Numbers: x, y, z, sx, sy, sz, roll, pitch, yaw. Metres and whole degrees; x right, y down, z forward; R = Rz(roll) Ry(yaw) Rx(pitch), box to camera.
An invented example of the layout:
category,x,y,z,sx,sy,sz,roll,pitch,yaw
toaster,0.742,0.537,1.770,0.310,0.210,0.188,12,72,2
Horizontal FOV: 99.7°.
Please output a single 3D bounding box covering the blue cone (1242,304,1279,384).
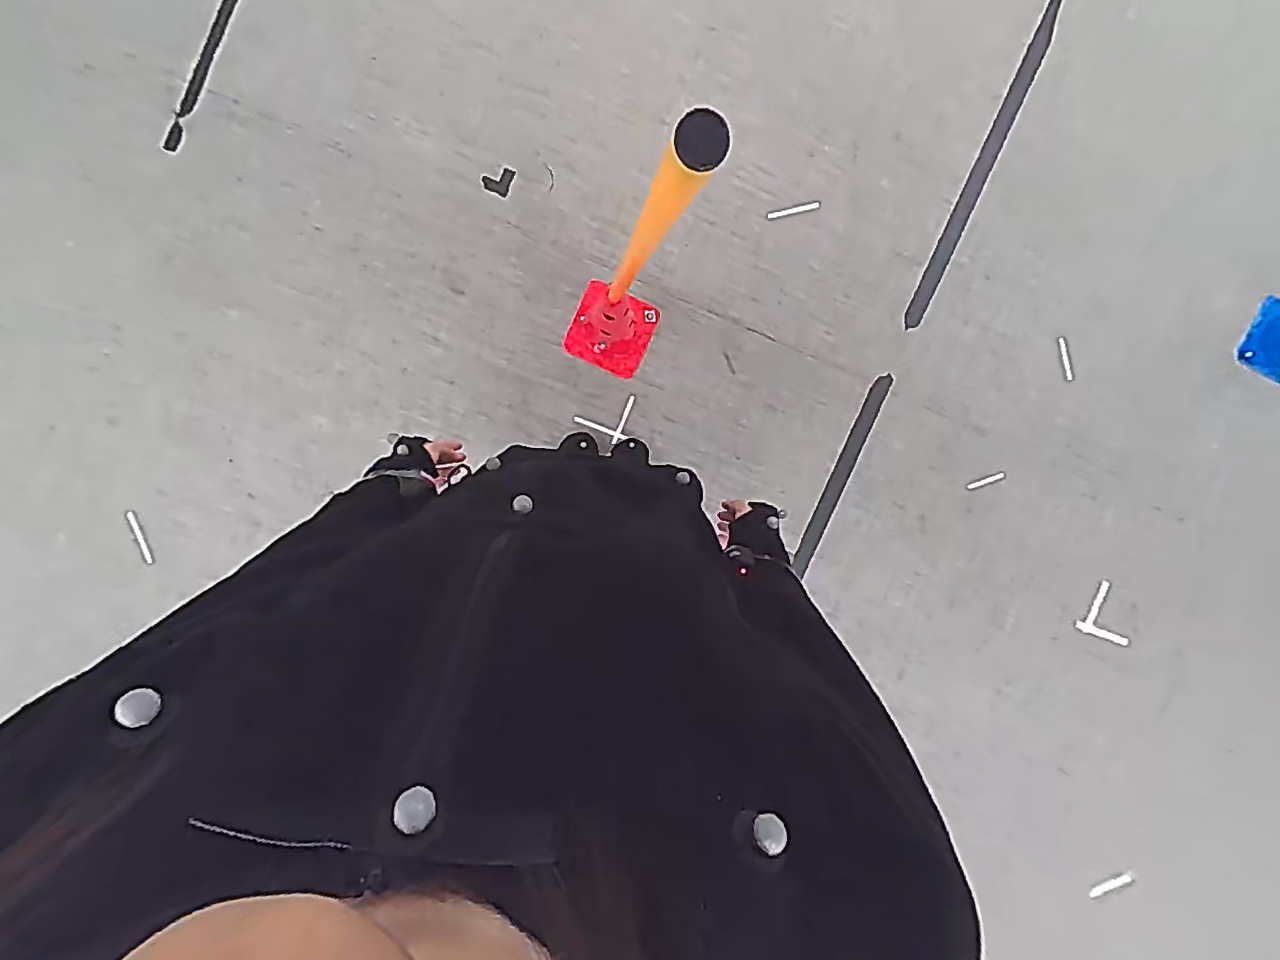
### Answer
category,x,y,z,sx,sy,sz,roll,pitch,yaw
blue cone,1.810,-0.366,1.351,0.193,0.380,0.192,27,93,-5
